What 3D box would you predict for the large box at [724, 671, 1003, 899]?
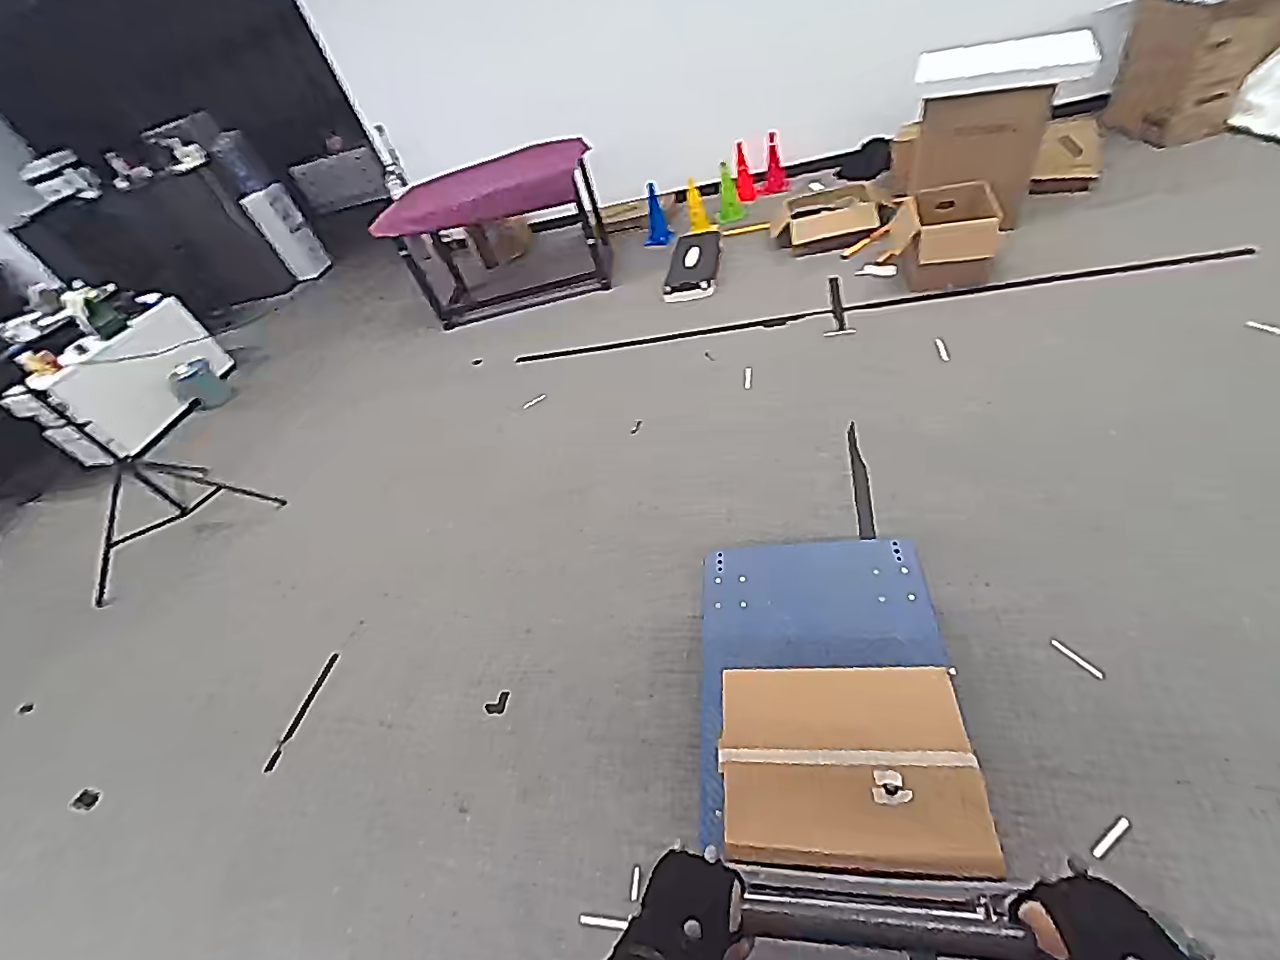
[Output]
[{"bbox_3d":[0.381,0.581,1.031,0.408,0.320,0.320,-6,48,13],"label":"large box"}]
